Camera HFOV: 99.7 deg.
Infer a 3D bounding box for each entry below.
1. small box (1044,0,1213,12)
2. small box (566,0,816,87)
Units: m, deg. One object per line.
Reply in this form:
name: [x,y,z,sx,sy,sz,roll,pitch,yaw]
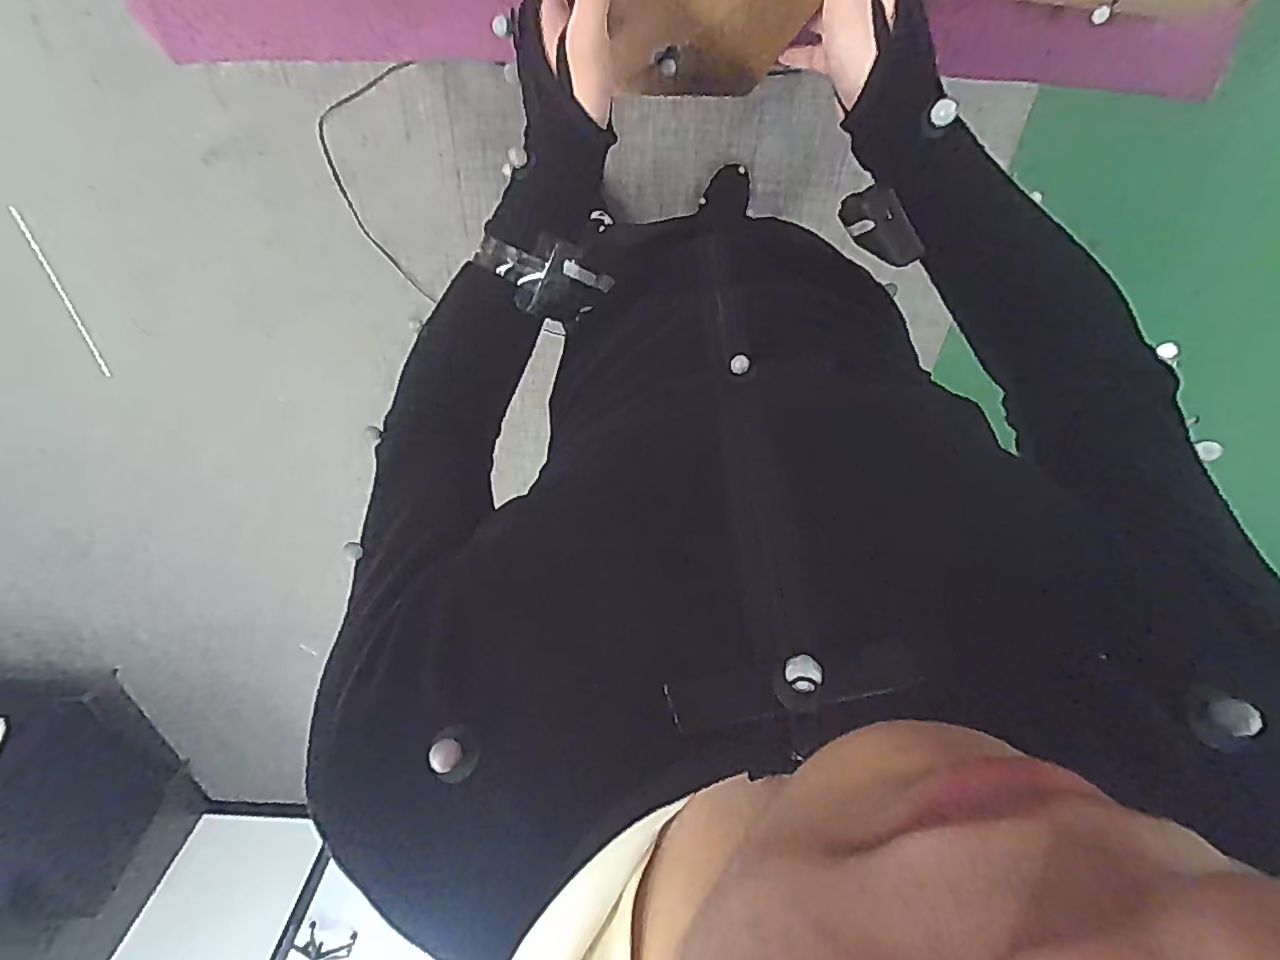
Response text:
small box: [0.477,-0.537,0.474,0.179,0.176,0.168,6,124,-1]
small box: [0.034,-0.424,0.385,0.168,0.176,0.179,-9,102,-14]
